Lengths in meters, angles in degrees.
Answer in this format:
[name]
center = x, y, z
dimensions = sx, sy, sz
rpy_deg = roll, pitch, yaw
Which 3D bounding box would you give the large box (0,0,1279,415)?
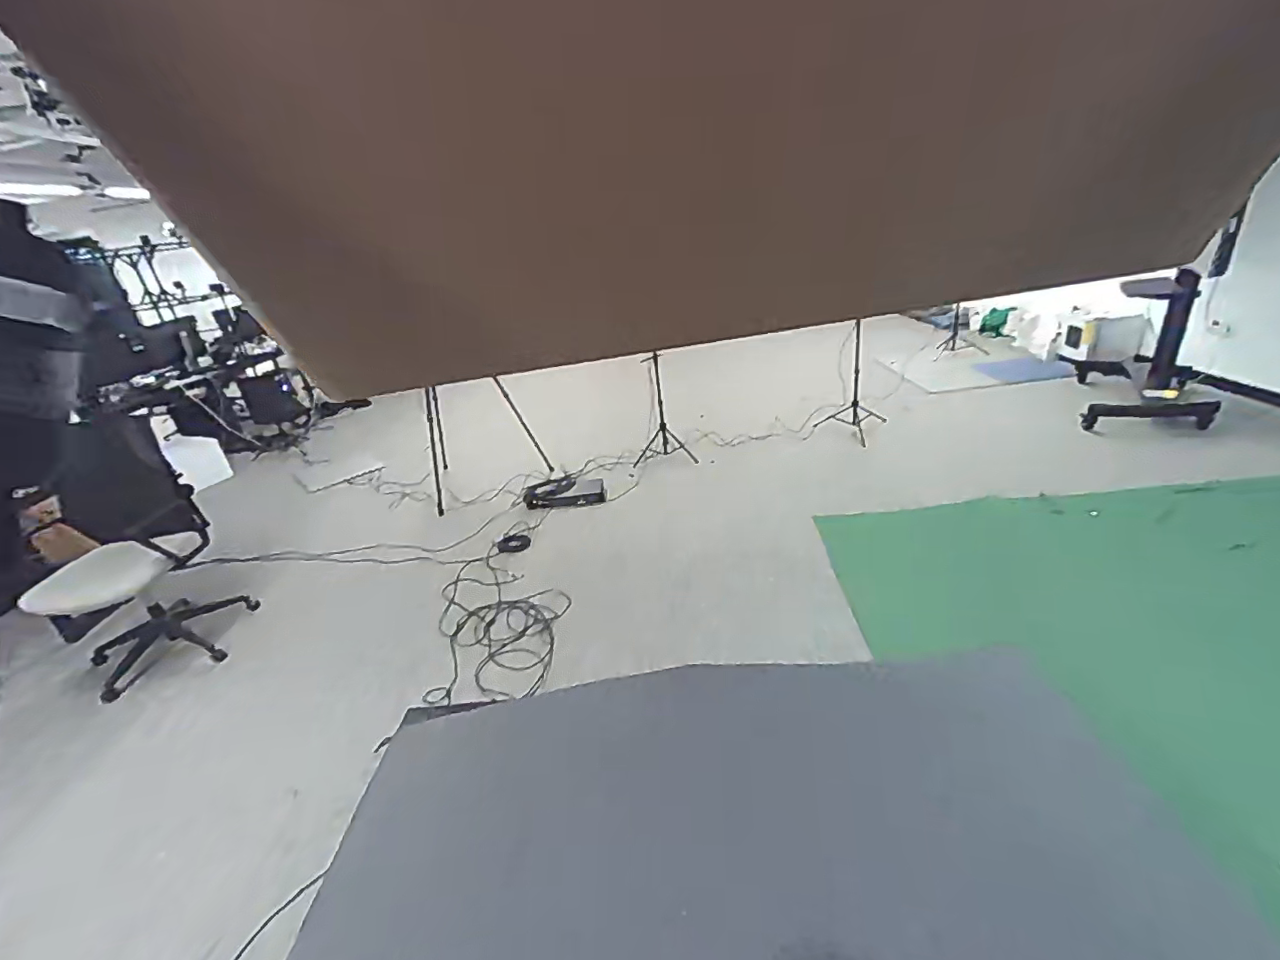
[large box]
center = 0.008, -0.265, 0.228
dimensions = 0.408, 0.320, 0.320
rpy_deg = -9, 56, 1
